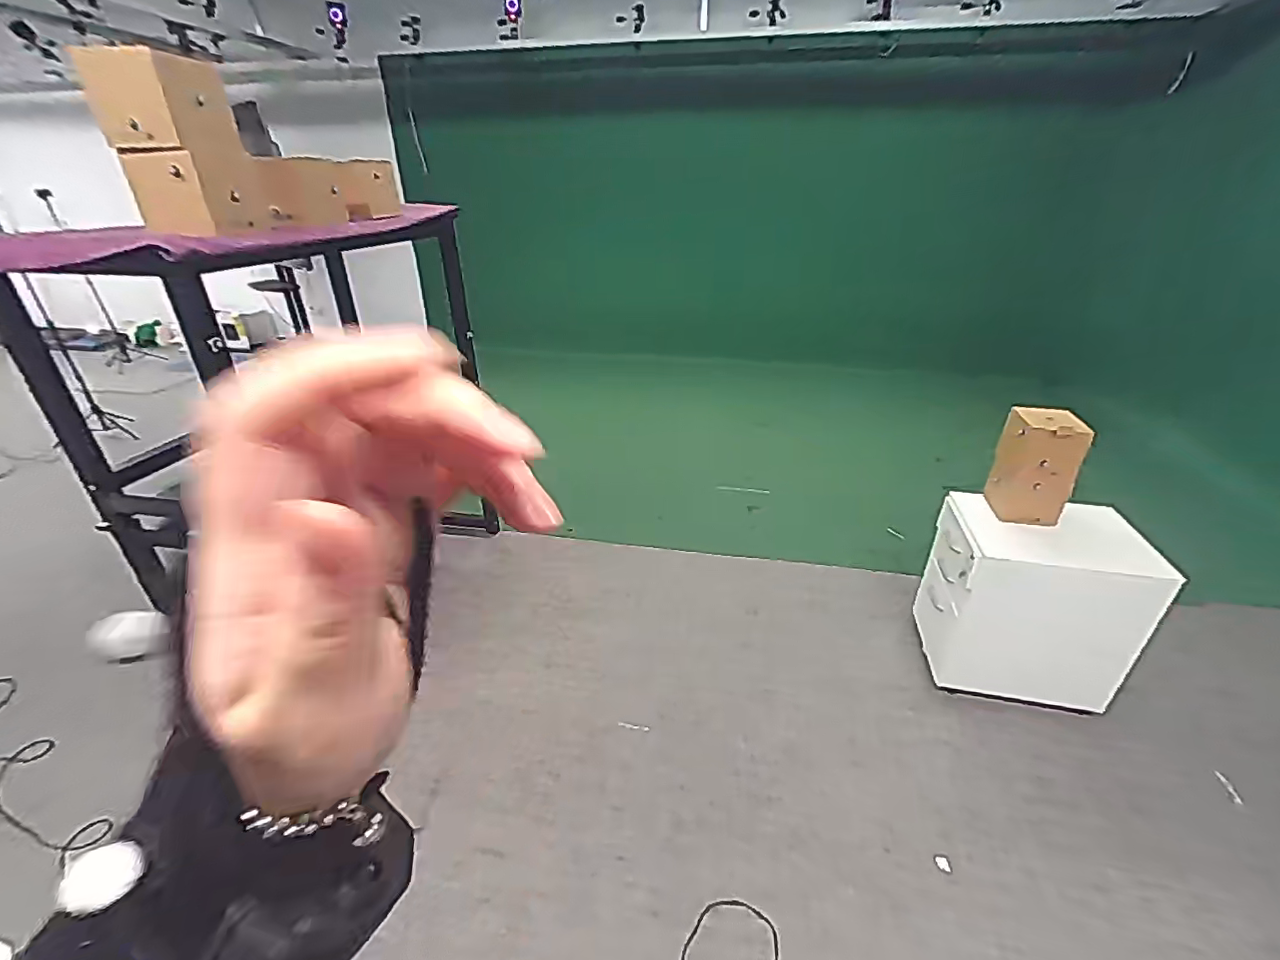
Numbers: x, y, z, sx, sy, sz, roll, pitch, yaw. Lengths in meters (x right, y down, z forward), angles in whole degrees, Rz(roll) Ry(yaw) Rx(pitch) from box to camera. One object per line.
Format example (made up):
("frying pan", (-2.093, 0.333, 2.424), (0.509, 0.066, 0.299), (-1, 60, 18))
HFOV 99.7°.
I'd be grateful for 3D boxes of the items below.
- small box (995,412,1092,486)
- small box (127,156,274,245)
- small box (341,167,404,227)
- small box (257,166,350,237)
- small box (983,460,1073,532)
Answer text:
("small box", (1.254, -0.098, 1.698), (0.168, 0.176, 0.179), (6, 30, 10))
("small box", (-0.984, -0.635, 1.232), (0.179, 0.176, 0.168), (4, 27, 7))
("small box", (-0.923, -0.947, 1.817), (0.168, 0.176, 0.179), (3, 28, 12))
("small box", (-0.955, -0.792, 1.535), (0.168, 0.176, 0.179), (3, 29, 8))
("small box", (1.259, 0.047, 1.771), (0.168, 0.176, 0.179), (6, 29, 11))
